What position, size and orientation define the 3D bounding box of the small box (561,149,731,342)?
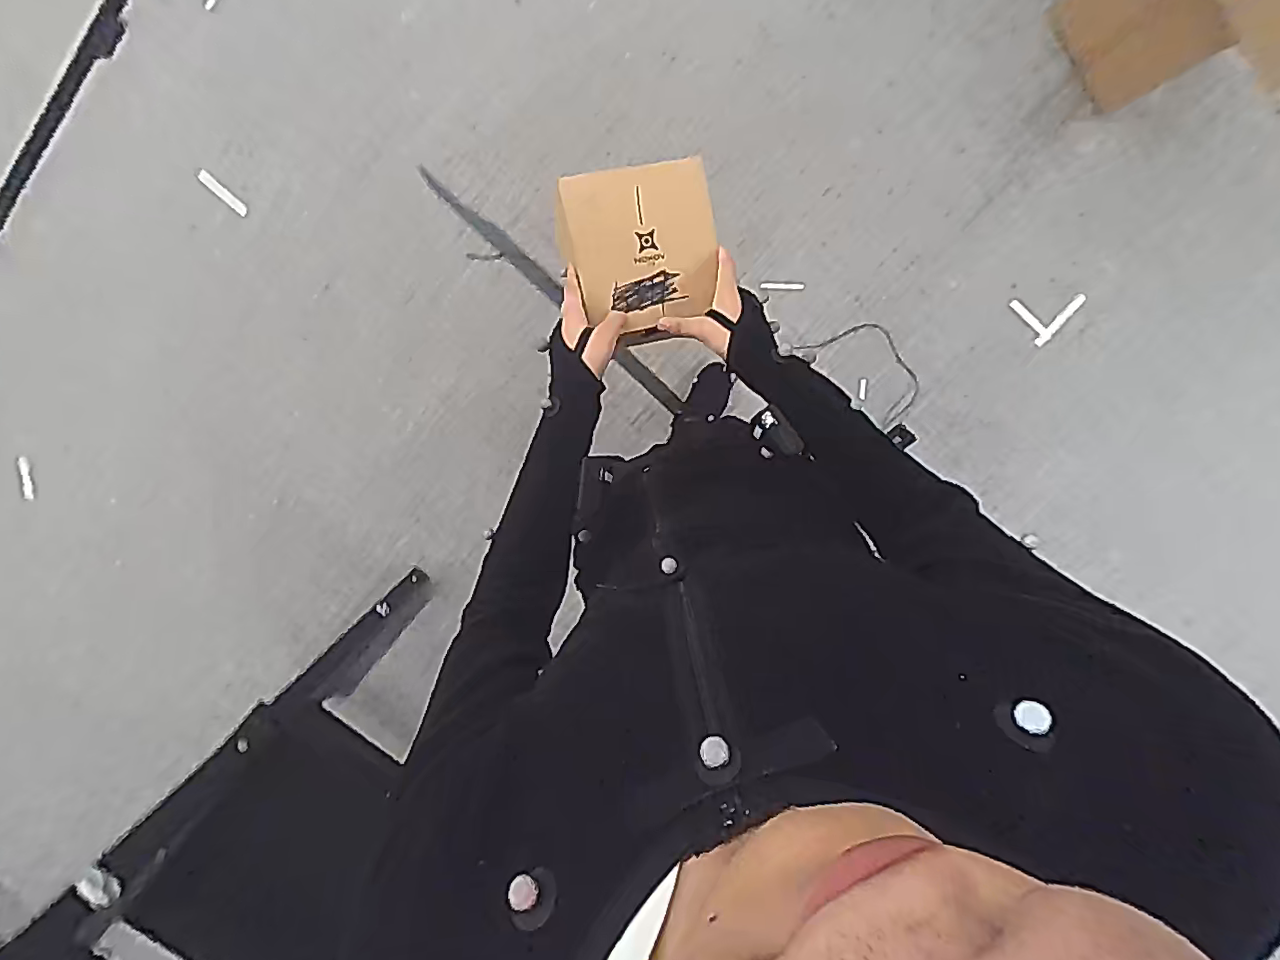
[{"bbox_3d":[0.000,-0.274,0.673,0.168,0.176,0.179,-12,99,-8],"label":"small box"}]
